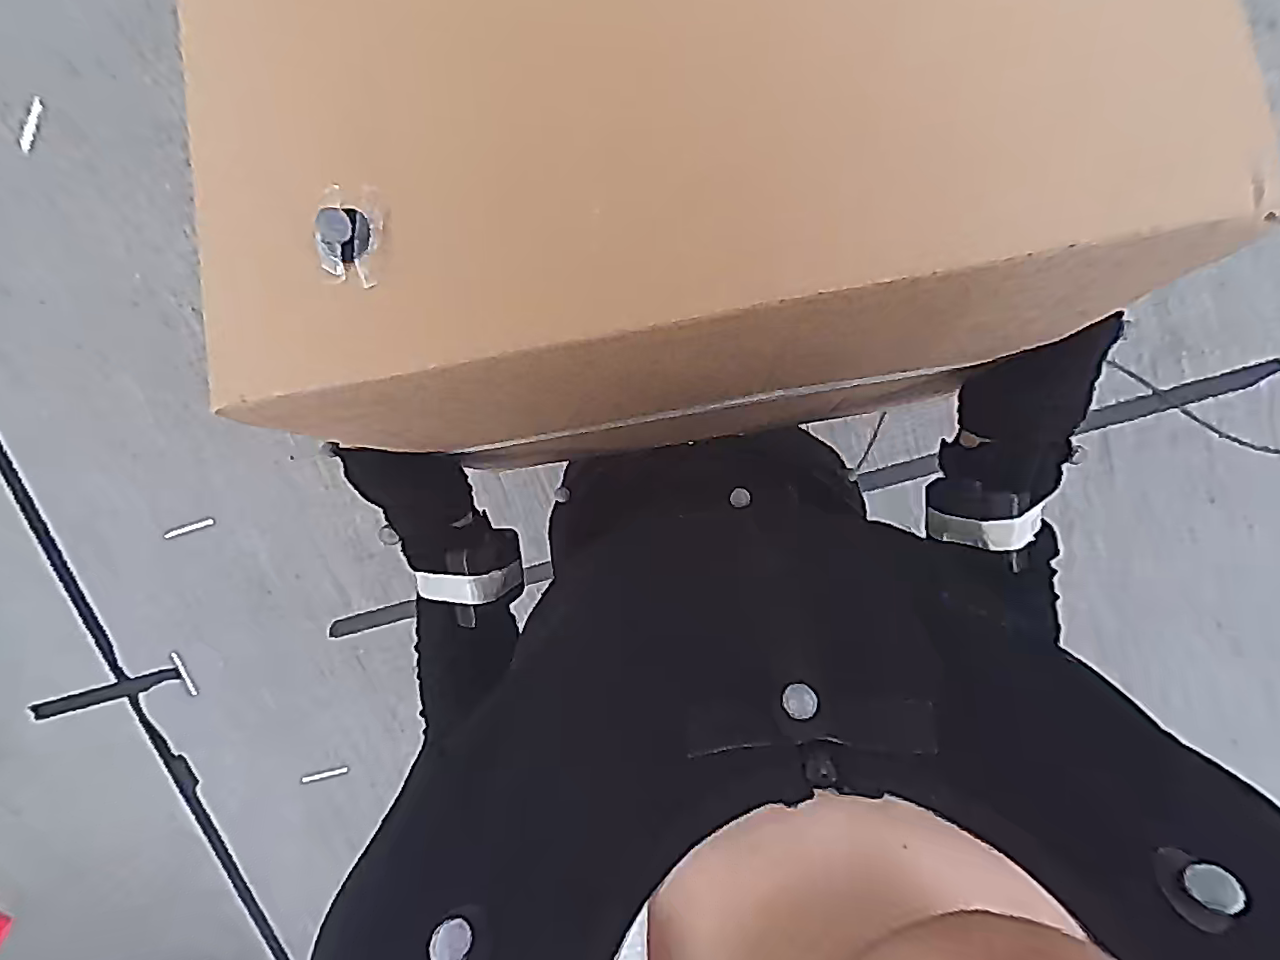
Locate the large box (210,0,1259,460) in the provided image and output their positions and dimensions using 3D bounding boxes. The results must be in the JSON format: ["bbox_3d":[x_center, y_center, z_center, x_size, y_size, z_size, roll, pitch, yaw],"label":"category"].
[{"bbox_3d":[0.016,-0.211,0.370,0.408,0.320,0.320,-9,85,6],"label":"large box"}]
